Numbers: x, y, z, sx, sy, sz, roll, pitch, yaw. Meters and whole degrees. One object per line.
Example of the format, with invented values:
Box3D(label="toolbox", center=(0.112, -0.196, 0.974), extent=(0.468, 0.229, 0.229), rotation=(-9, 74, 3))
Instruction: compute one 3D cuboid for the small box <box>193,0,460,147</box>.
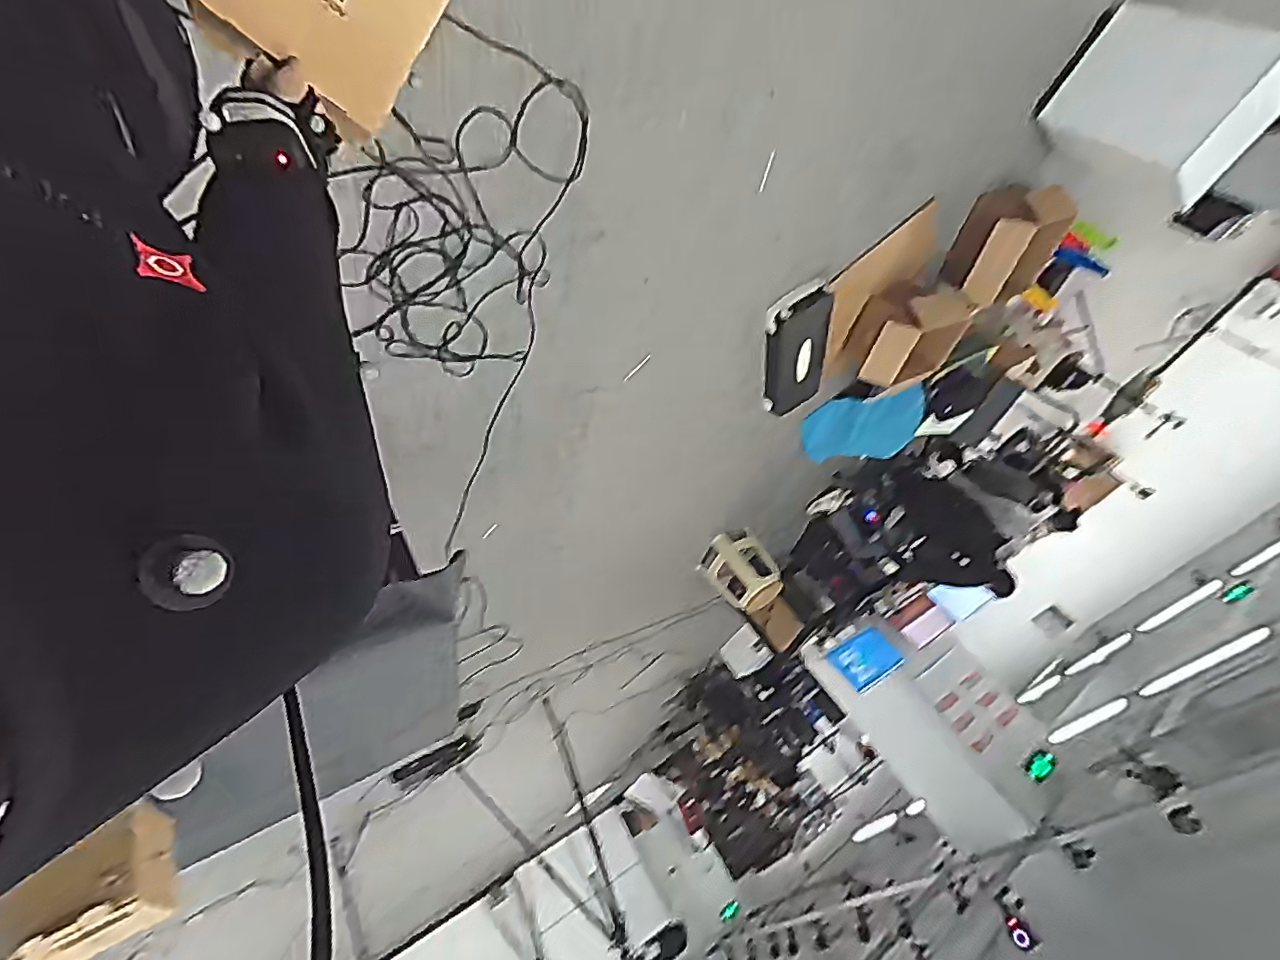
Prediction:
Box3D(label="small box", center=(-0.316, -0.475, 0.548), extent=(0.168, 0.176, 0.179), rotation=(28, 98, -41))
